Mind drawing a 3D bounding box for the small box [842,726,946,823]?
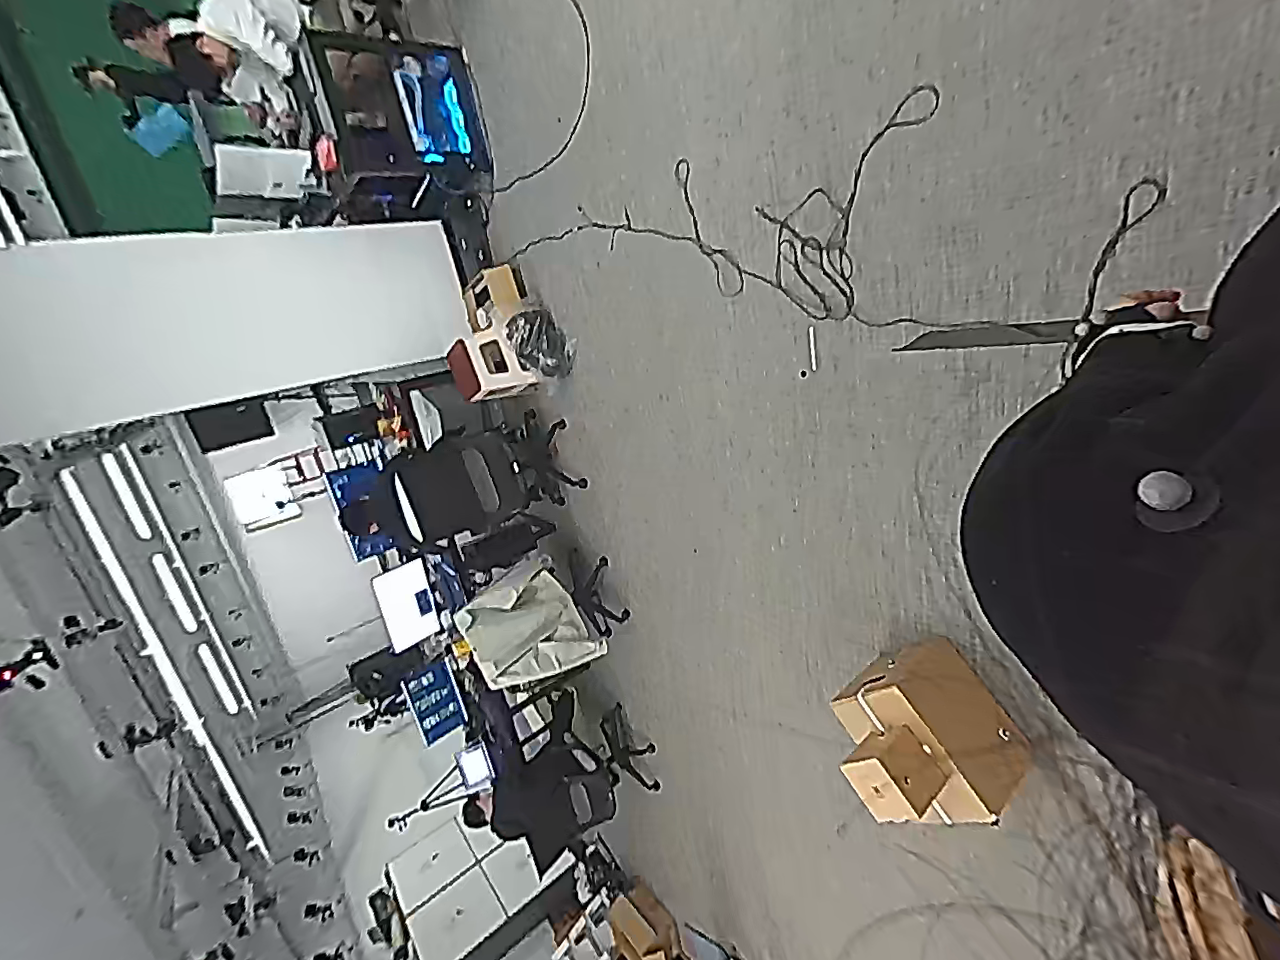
[{"bbox_3d":[0.725,0.839,1.541,0.179,0.176,0.168,56,144,19],"label":"small box"}]
